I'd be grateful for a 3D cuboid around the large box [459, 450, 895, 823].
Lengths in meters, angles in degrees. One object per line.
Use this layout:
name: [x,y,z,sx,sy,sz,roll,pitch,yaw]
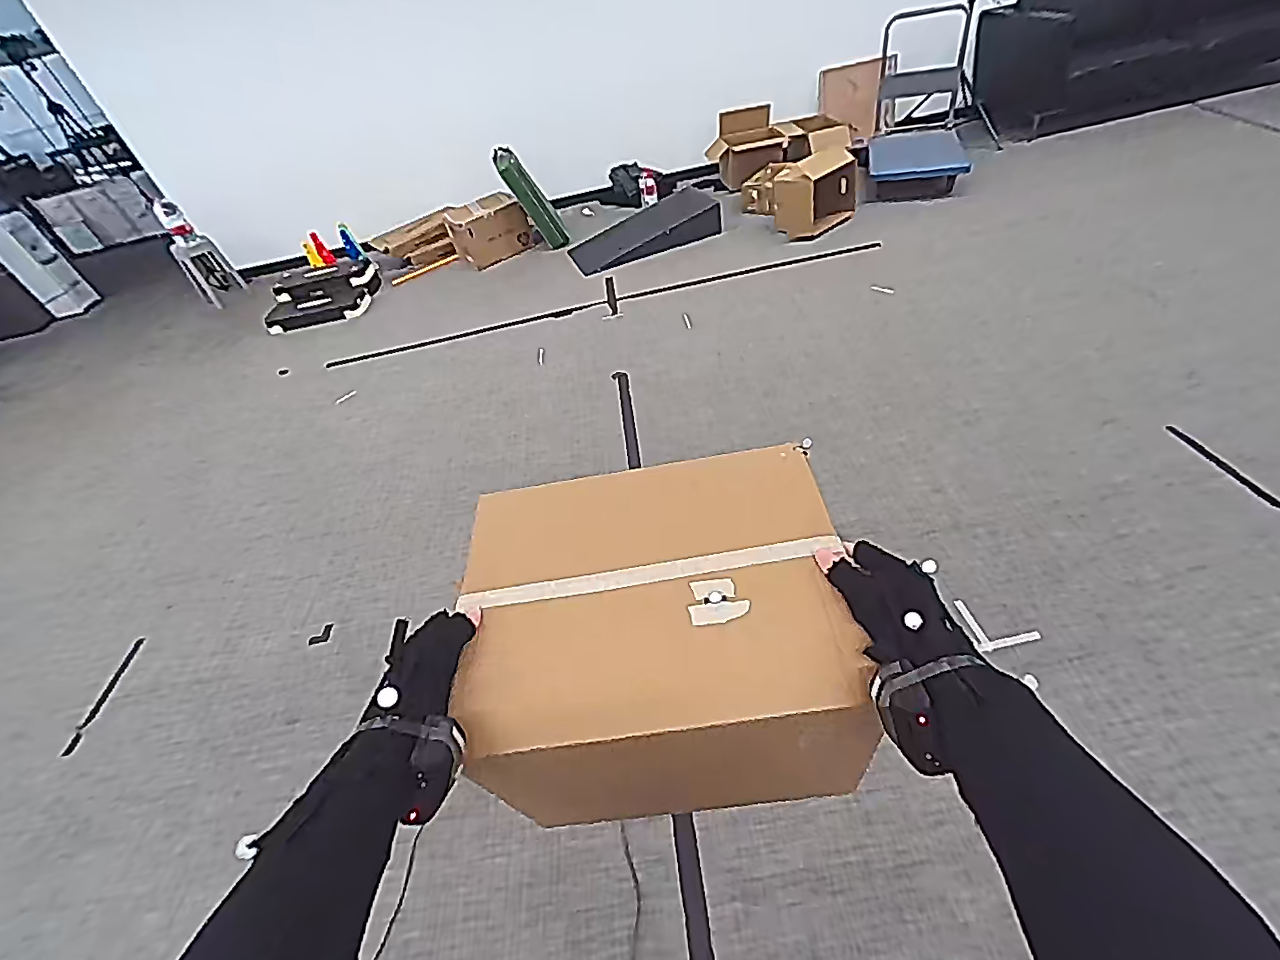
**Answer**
large box: [0.037,0.204,0.687,0.408,0.320,0.320,-9,47,3]
